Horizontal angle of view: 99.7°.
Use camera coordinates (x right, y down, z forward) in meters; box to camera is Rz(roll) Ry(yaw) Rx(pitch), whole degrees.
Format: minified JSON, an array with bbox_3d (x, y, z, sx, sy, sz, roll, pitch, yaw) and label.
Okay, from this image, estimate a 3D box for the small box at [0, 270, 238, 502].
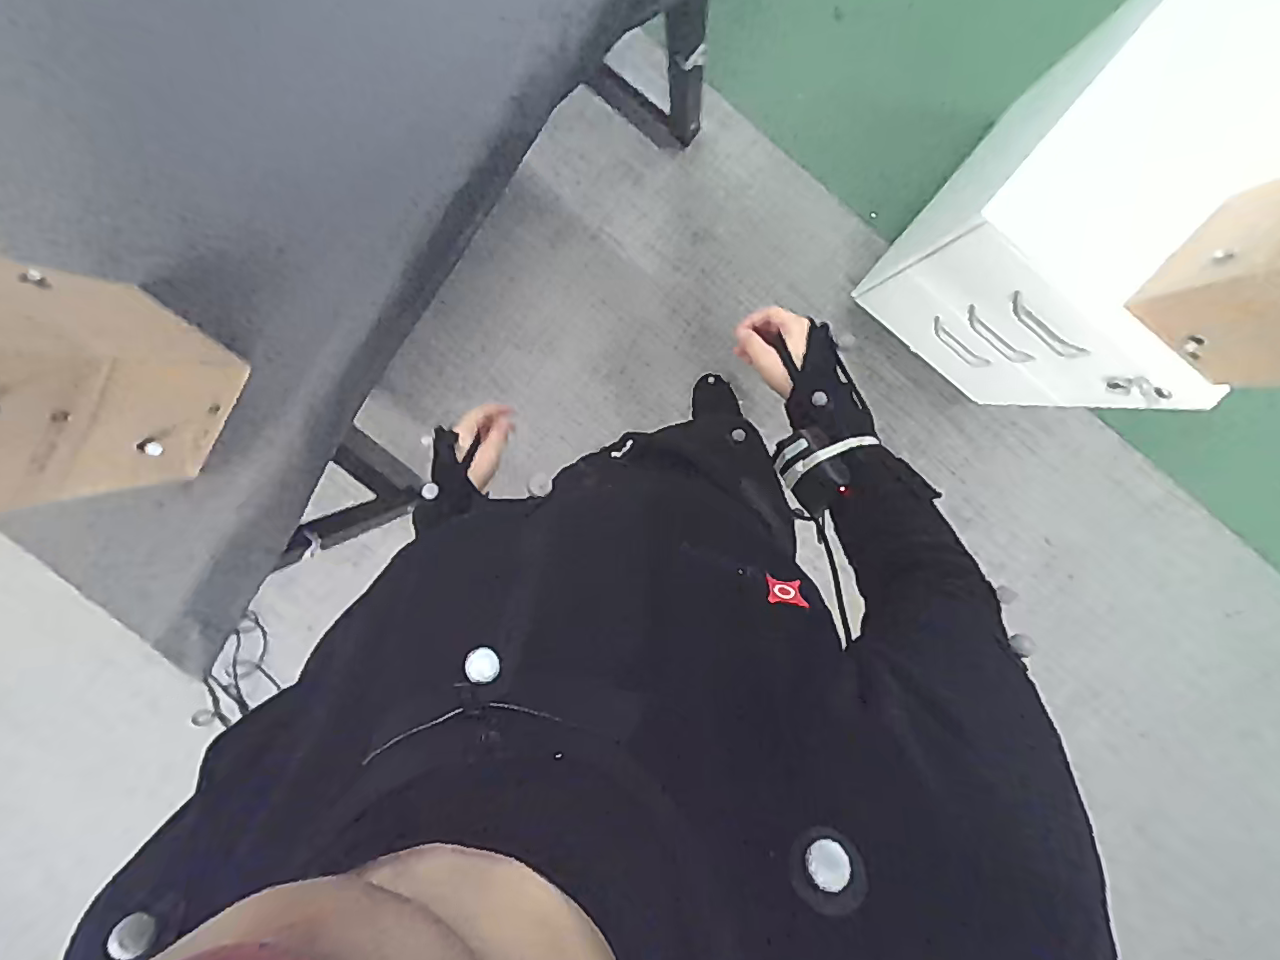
[{"bbox_3d":[-0.592,-0.103,0.579,0.179,0.176,0.168,34,99,-1],"label":"small box"}]
